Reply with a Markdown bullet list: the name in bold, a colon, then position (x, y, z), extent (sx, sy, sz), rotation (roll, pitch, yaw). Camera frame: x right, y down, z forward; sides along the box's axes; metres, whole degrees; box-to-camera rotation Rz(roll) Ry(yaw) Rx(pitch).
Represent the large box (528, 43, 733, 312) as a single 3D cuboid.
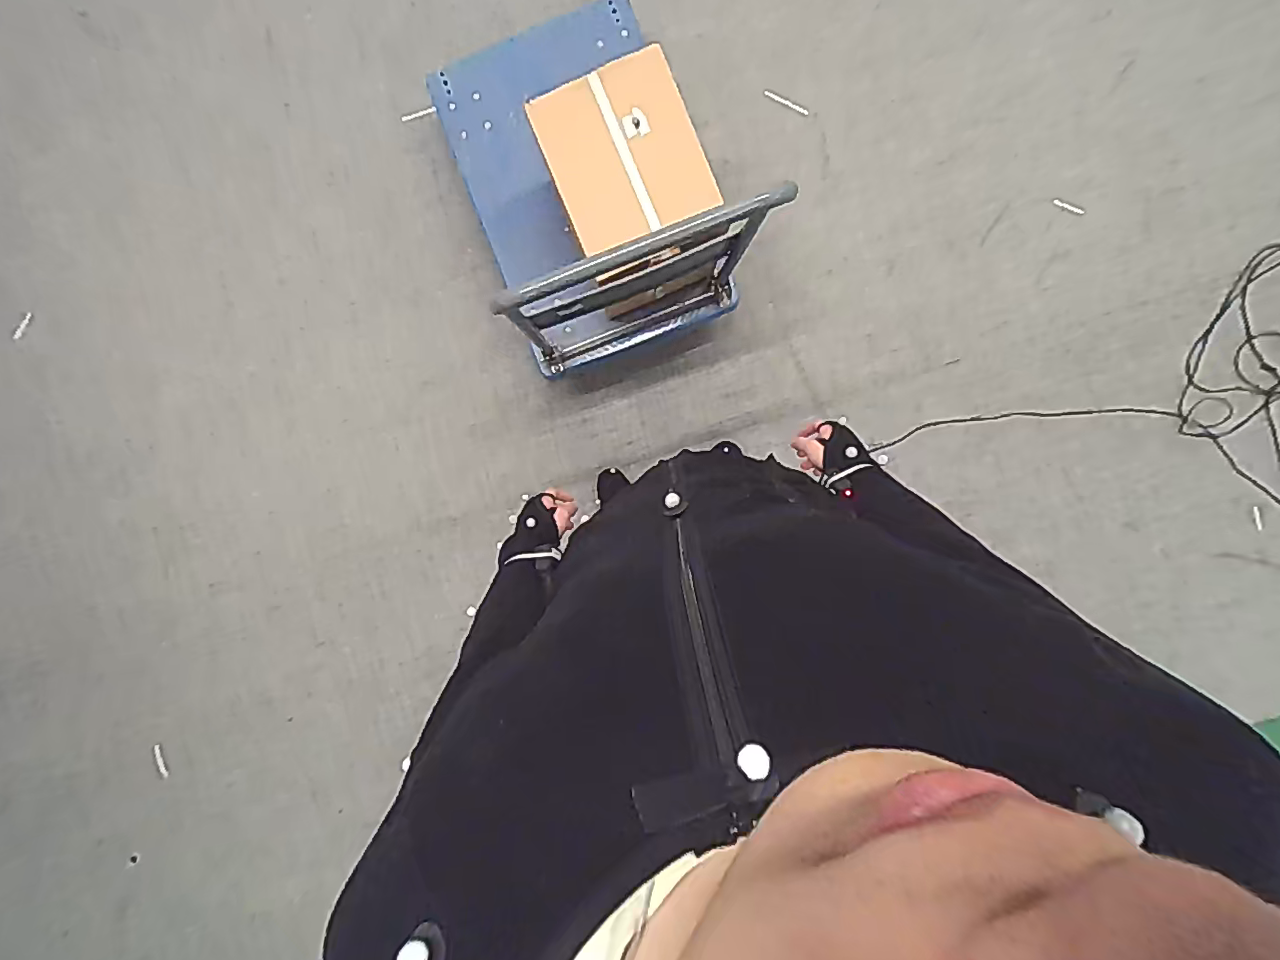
- **large box**: position (-0.014, -0.677, 1.283), extent (0.320, 0.320, 0.408), rotation (-23, 91, 2)
